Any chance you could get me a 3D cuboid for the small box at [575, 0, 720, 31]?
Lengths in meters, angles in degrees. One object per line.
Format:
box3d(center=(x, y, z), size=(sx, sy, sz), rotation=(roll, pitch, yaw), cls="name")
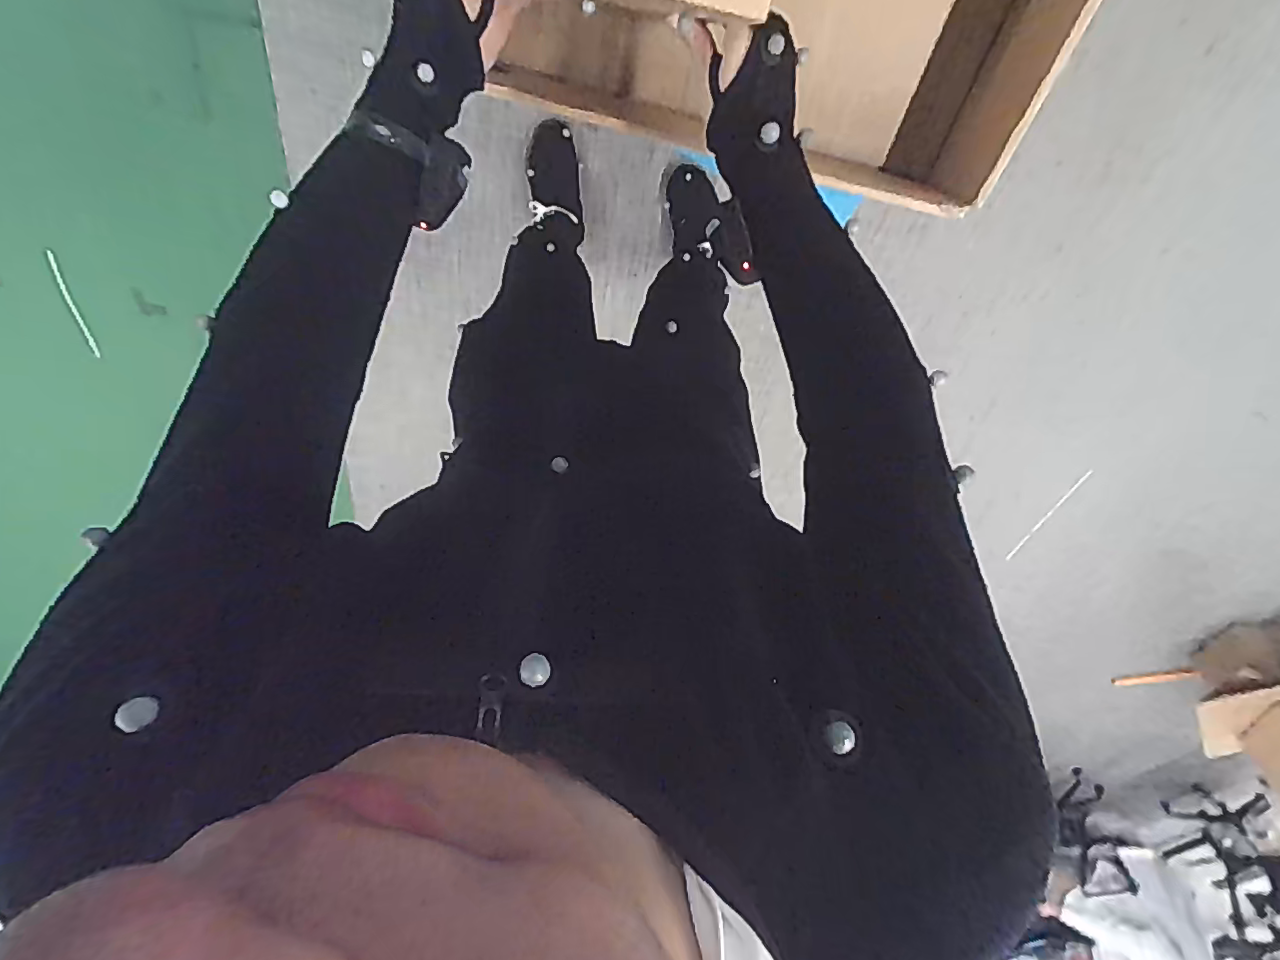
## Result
box3d(center=(-0.006, -0.503, 0.445), size=(0.168, 0.176, 0.179), rotation=(7, 129, -11), cls="small box")
